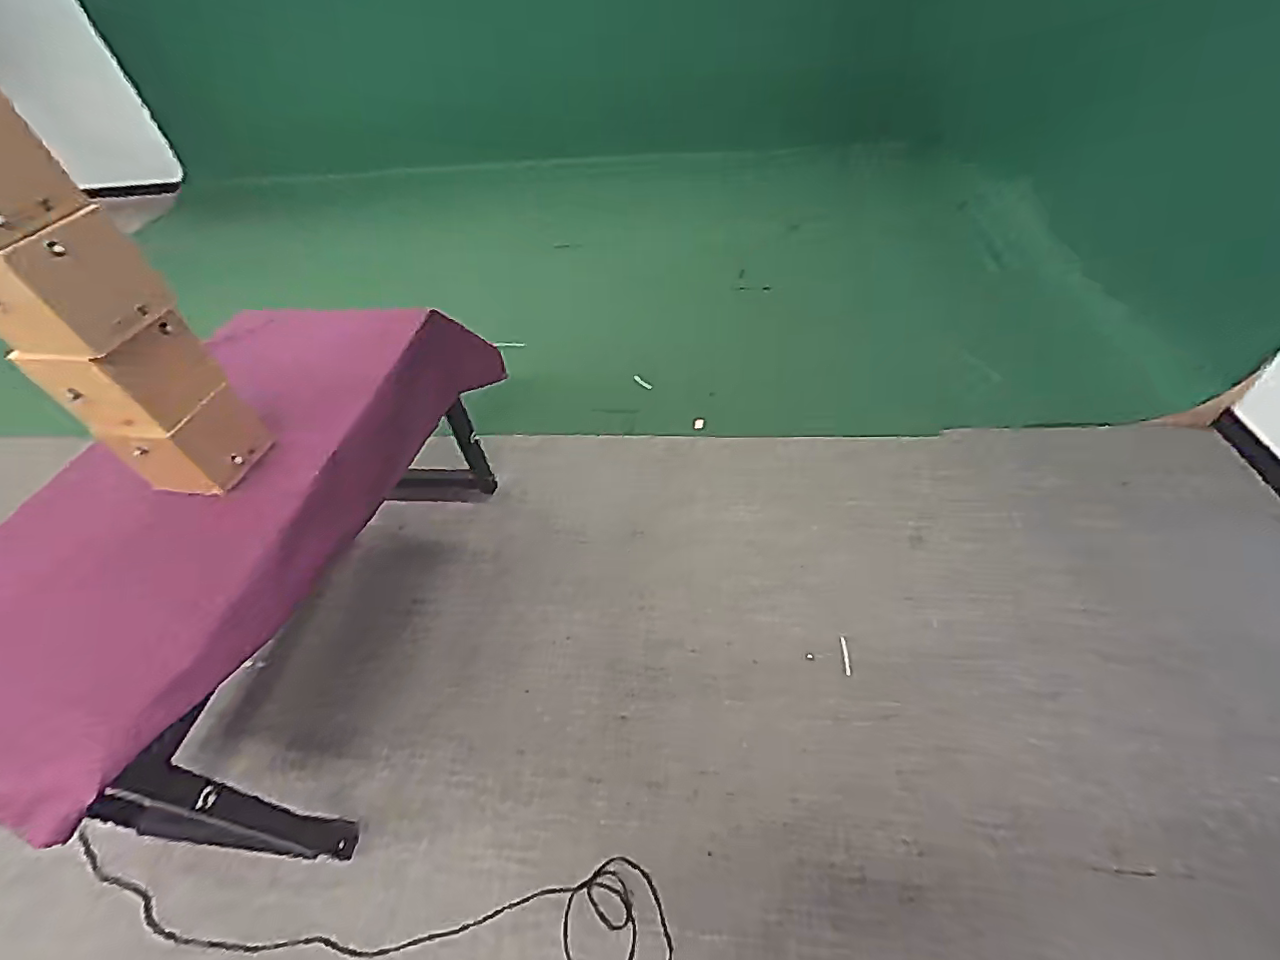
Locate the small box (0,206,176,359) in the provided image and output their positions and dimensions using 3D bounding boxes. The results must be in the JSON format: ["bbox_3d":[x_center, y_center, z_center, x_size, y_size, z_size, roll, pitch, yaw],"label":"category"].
[{"bbox_3d":[-0.902,-0.304,0.841,0.179,0.176,0.168,5,50,13],"label":"small box"}]

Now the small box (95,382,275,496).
[{"bbox_3d":[-0.894,-0.084,1.082,0.179,0.176,0.168,5,50,11],"label":"small box"}]

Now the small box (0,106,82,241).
[{"bbox_3d":[-0.933,-0.412,0.720,0.179,0.176,0.168,2,48,10],"label":"small box"}]

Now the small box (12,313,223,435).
[{"bbox_3d":[-0.910,-0.196,0.967,0.168,0.176,0.179,4,49,10],"label":"small box"}]
